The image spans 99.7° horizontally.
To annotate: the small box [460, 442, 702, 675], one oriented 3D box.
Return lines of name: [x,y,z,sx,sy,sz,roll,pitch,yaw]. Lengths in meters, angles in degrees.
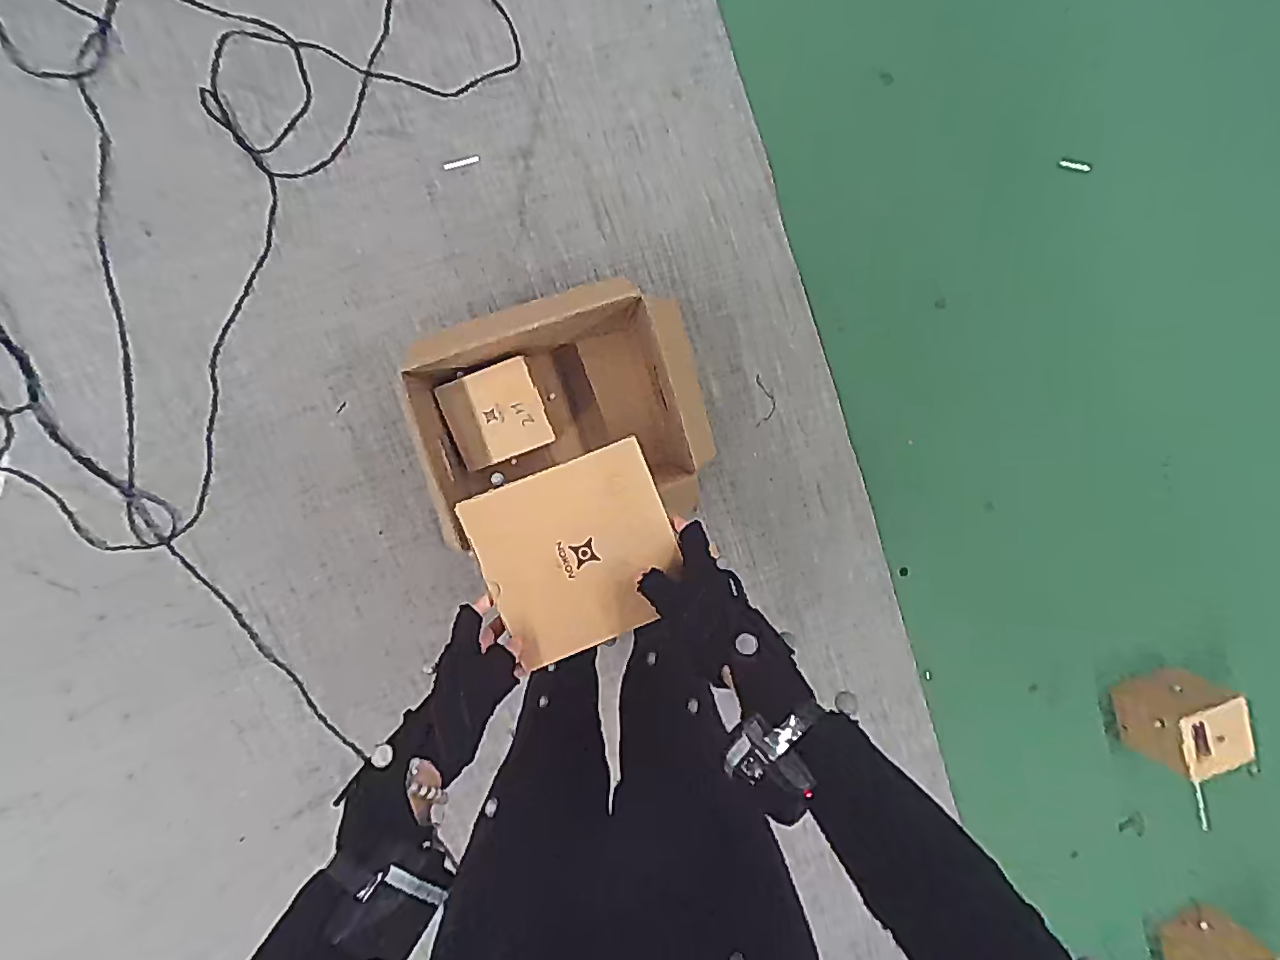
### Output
small box: [-0.056,0.065,0.562,0.179,0.176,0.168,-22,94,-2]

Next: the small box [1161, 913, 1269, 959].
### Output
small box: [1.524,1.294,1.407,0.168,0.176,0.179,-18,97,-4]
